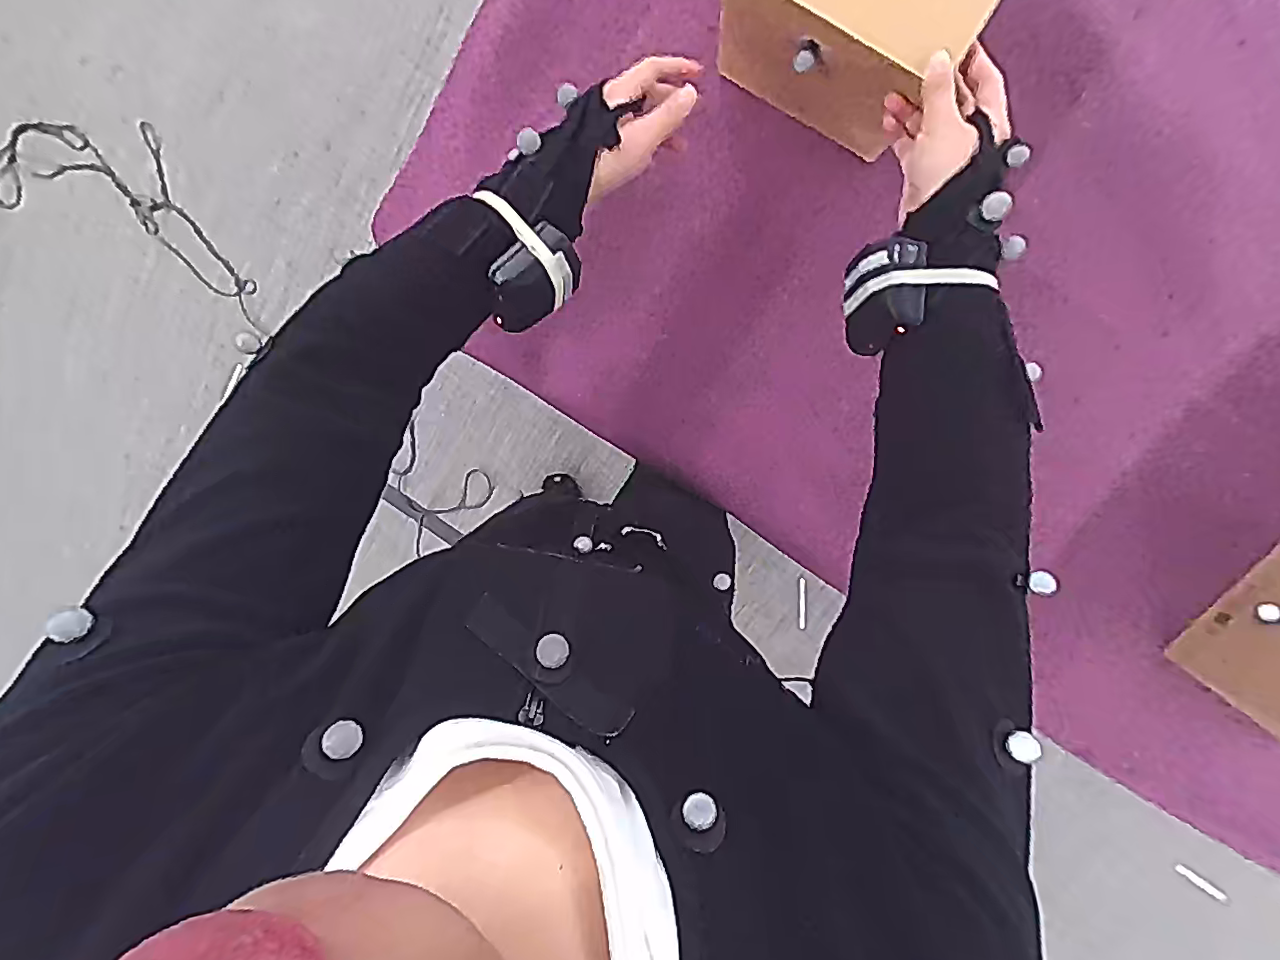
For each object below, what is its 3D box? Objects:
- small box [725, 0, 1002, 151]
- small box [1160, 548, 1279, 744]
[{"bbox_3d":[0.183,-0.395,0.426,0.179,0.176,0.168,31,106,-1],"label":"small box"},{"bbox_3d":[0.665,0.188,0.494,0.179,0.176,0.168,36,102,-1],"label":"small box"}]
